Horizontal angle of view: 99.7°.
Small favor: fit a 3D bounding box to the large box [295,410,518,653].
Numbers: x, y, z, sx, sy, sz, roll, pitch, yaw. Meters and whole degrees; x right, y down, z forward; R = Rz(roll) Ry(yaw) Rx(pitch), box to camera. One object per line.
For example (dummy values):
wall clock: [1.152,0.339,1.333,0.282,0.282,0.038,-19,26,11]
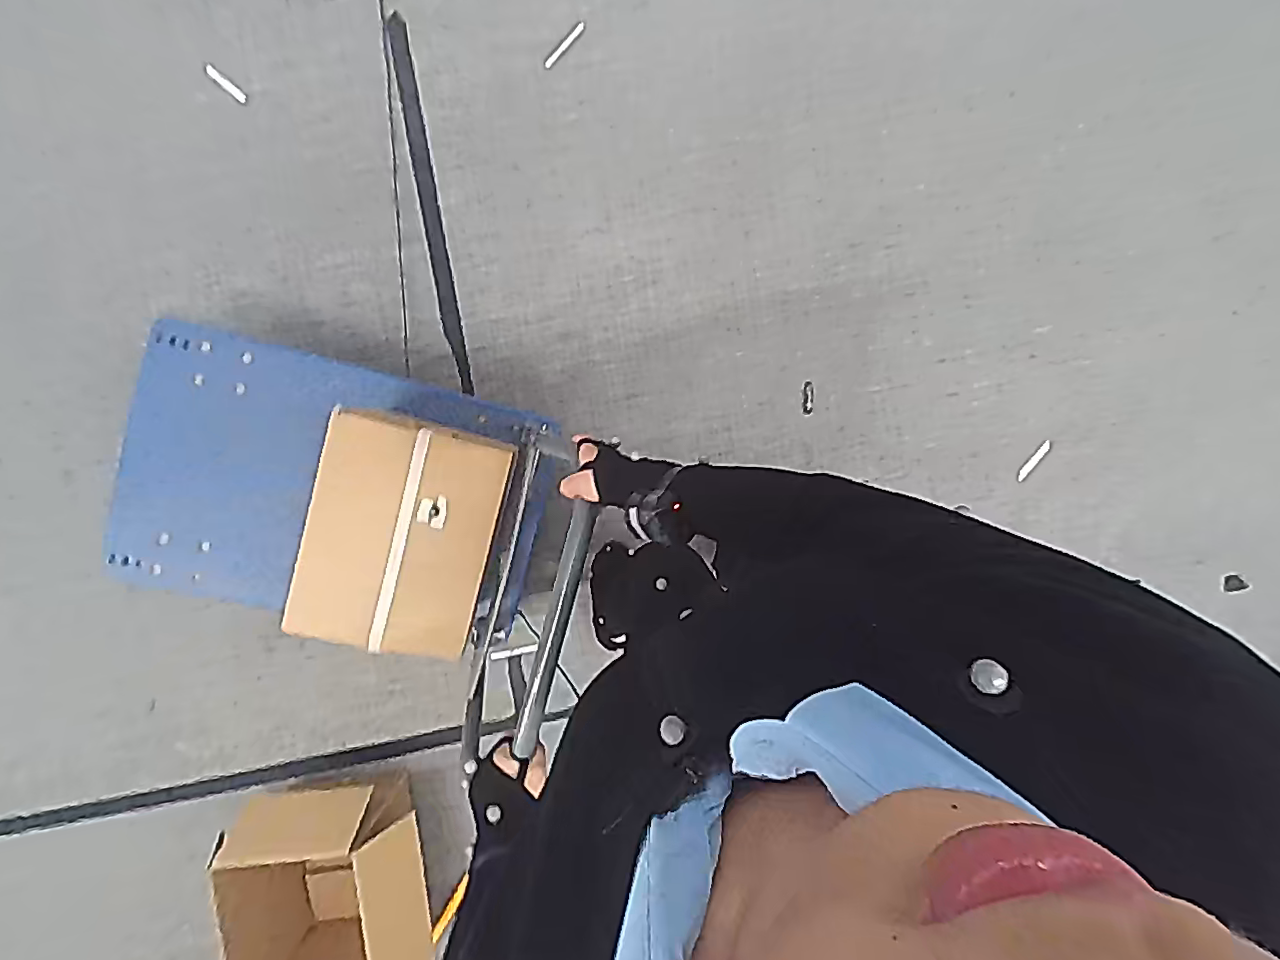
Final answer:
large box: [-0.451,0.092,1.121,0.320,0.320,0.408,13,92,-12]
